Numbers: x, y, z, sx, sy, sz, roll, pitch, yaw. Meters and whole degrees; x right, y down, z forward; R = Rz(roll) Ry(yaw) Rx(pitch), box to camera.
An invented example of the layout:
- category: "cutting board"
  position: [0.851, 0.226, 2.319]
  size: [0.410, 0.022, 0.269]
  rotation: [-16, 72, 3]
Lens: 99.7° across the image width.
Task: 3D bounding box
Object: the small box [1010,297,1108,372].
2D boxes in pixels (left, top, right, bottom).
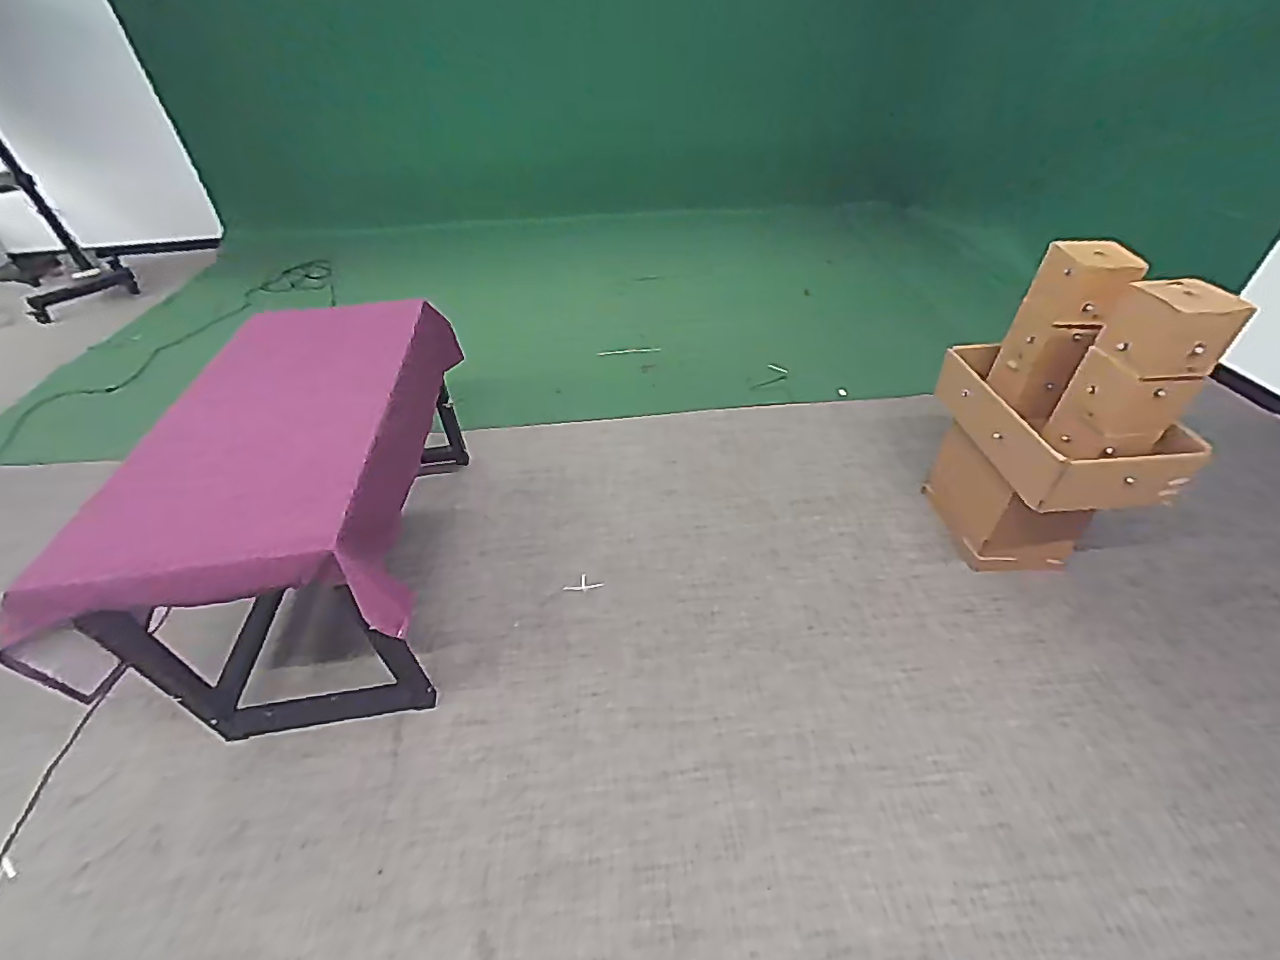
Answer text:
- category: "small box"
  position: [1.246, -0.434, 1.611]
  size: [0.179, 0.176, 0.168]
  rotation: [0, 43, 3]

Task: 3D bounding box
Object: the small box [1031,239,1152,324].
- category: "small box"
  position: [1.234, -0.550, 1.498]
  size: [0.168, 0.176, 0.179]
  rotation: [2, 44, 5]

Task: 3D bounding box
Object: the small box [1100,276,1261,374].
- category: "small box"
  position: [1.259, -0.362, 1.278]
  size: [0.168, 0.176, 0.179]
  rotation: [-3, 42, 0]

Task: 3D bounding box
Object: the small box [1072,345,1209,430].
- category: "small box"
  position: [1.264, -0.240, 1.389]
  size: [0.179, 0.176, 0.168]
  rotation: [-4, 42, 0]
